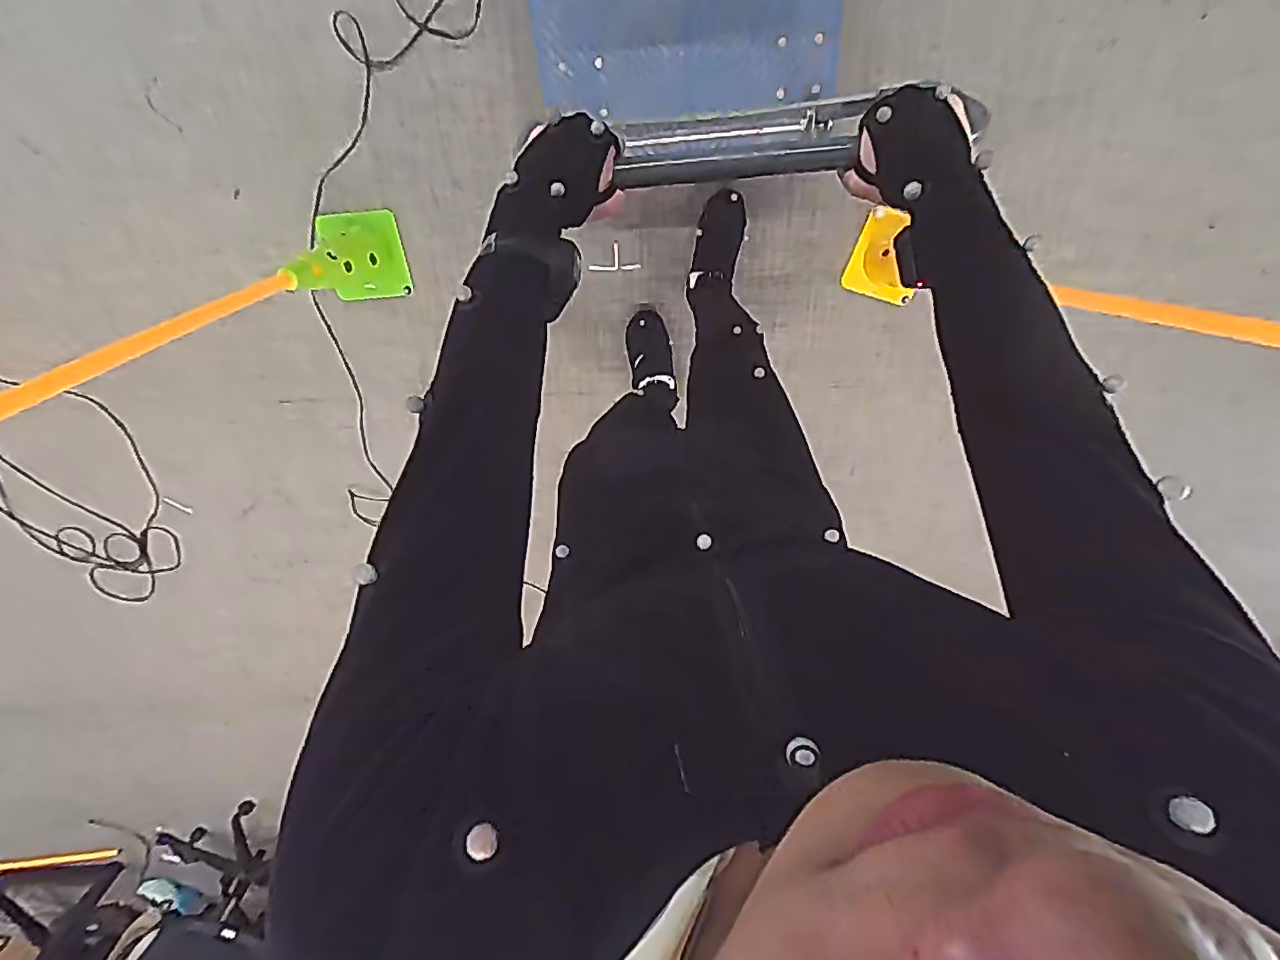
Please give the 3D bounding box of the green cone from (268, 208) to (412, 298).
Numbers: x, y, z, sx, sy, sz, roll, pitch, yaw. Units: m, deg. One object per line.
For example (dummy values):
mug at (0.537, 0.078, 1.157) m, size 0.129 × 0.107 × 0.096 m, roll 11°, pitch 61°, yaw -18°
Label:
green cone at (-0.690, -0.480, 1.198) m, size 0.202 × 0.368 × 0.200 m, roll -4°, pitch 119°, yaw 4°
